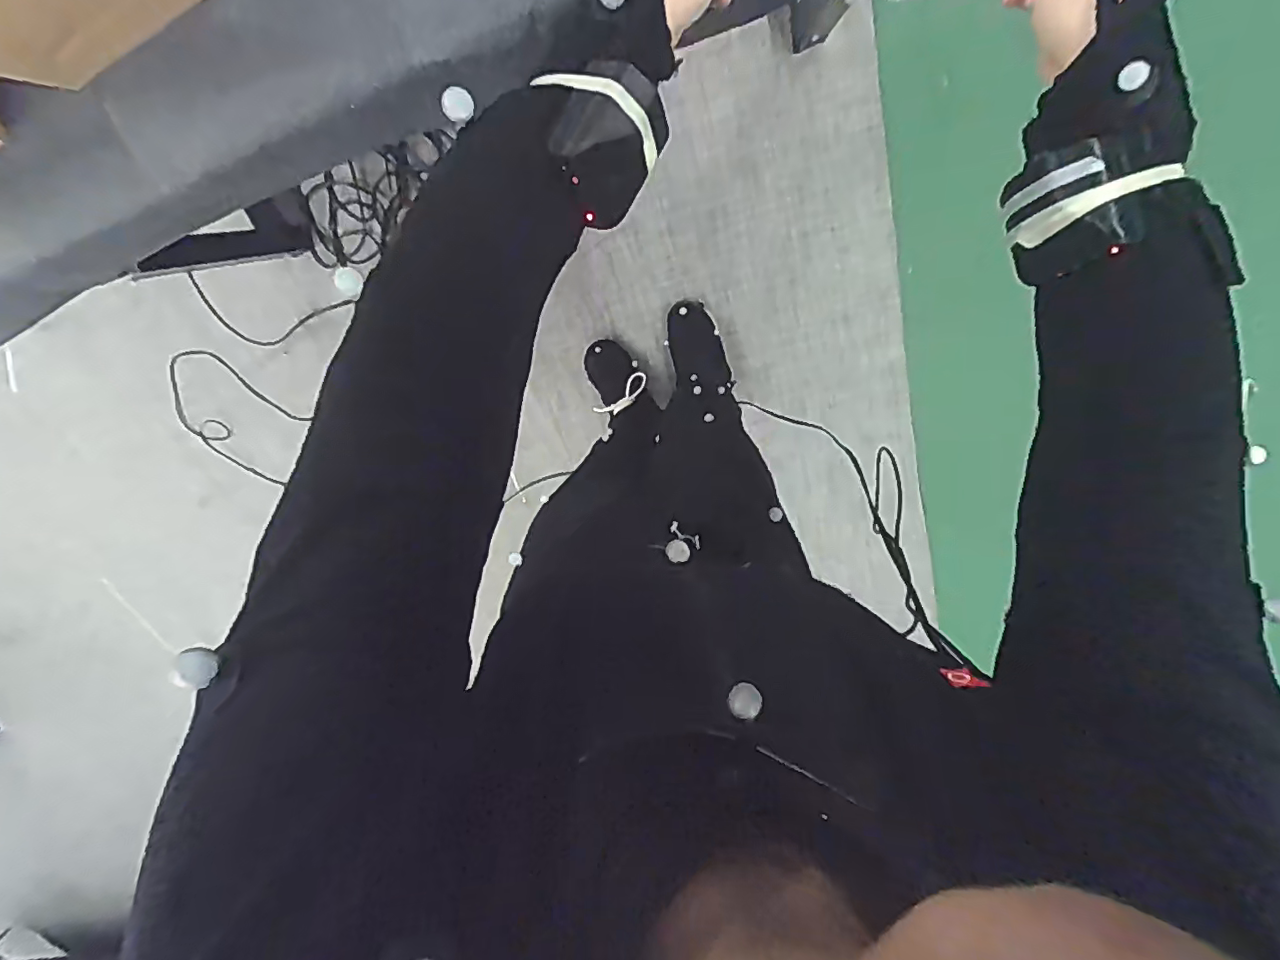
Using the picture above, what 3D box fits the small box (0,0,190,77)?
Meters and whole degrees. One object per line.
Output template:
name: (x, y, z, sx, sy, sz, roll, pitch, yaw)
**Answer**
small box: (-0.437, -0.390, 0.334, 0.179, 0.176, 0.168, -18, 114, 15)
